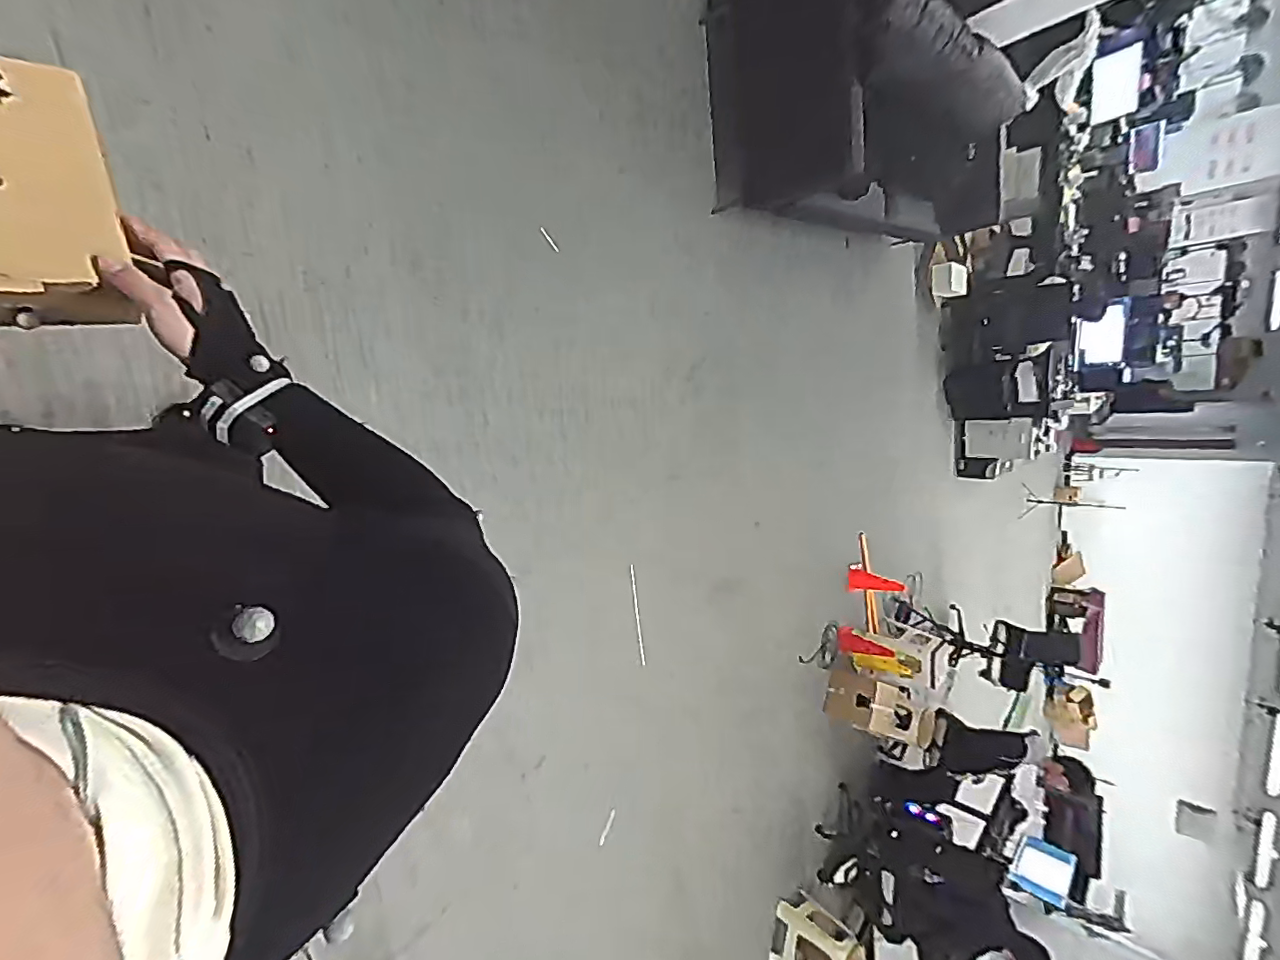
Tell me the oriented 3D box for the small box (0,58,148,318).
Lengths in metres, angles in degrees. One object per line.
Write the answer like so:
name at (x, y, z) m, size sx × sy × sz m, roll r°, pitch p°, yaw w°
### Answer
small box at (-0.564, -0.242, 0.477) m, size 0.168 × 0.176 × 0.179 m, roll -16°, pitch 103°, yaw -40°
